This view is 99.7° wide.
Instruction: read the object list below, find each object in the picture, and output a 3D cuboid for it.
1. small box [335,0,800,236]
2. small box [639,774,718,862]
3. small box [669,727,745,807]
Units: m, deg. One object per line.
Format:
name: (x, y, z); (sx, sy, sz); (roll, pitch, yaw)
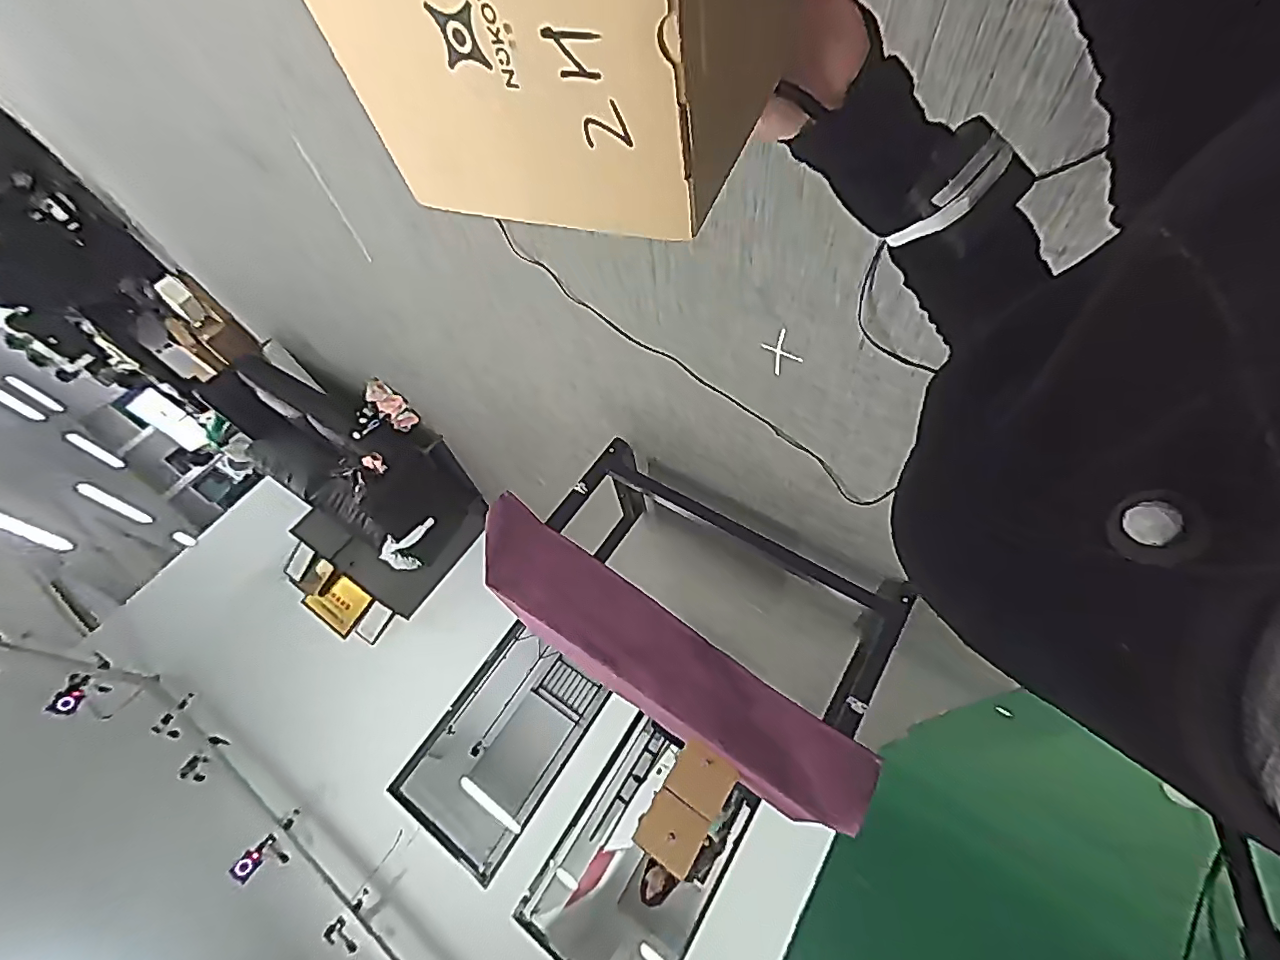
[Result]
small box: (-0.027, -0.253, 0.260); (0.179, 0.176, 0.168); (17, 157, 18)
small box: (0.123, 1.030, 1.660); (0.179, 0.176, 0.168); (26, 156, 24)
small box: (0.215, 0.907, 1.720); (0.179, 0.176, 0.168); (27, 157, 24)
